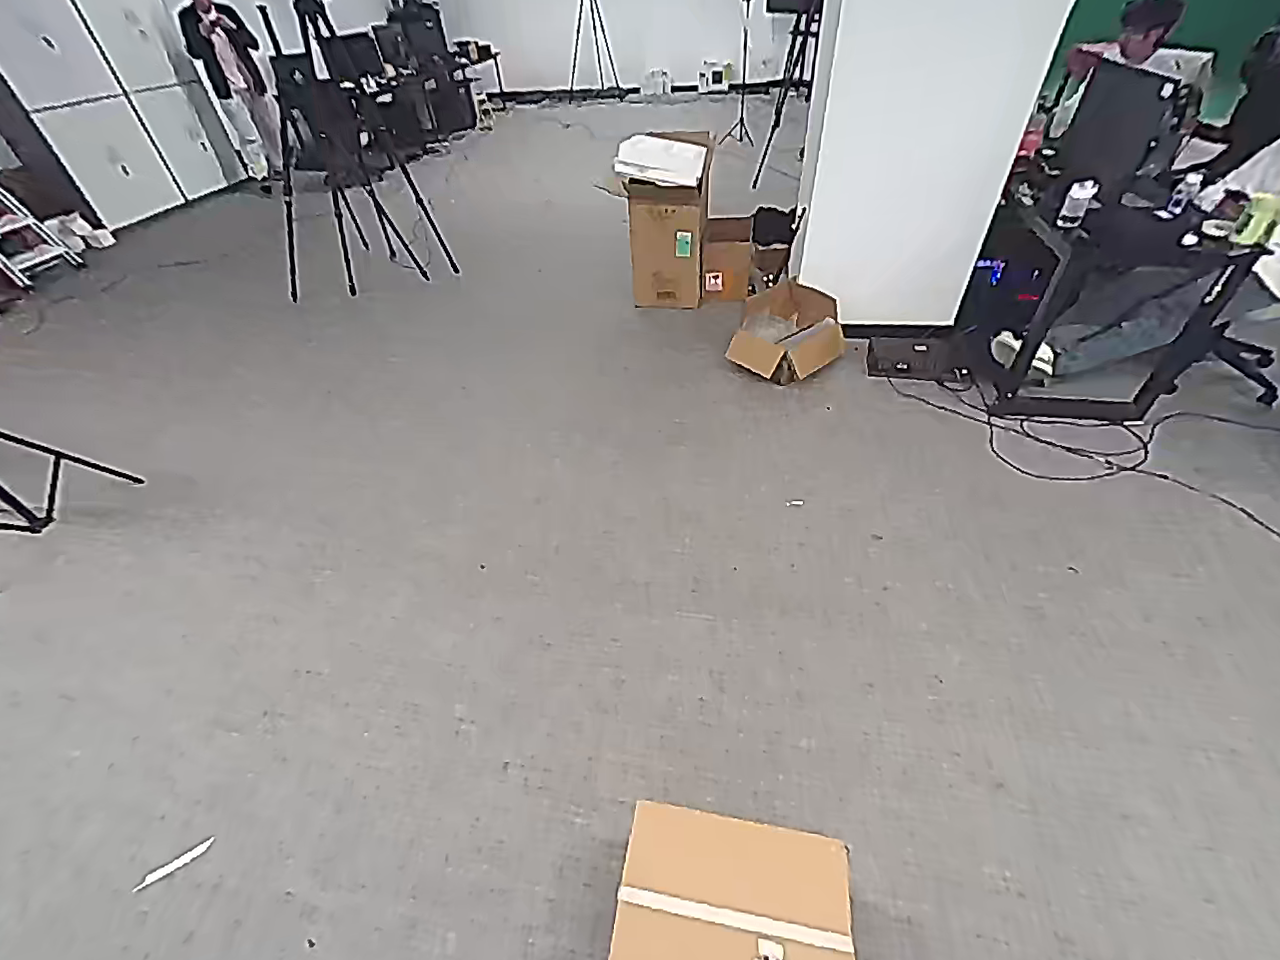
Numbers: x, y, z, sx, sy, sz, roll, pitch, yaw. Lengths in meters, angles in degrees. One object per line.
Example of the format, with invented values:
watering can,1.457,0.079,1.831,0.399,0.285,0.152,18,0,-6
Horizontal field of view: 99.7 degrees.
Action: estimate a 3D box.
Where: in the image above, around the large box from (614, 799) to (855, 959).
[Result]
large box,0.172,0.869,1.049,0.408,0.320,0.320,6,44,9
